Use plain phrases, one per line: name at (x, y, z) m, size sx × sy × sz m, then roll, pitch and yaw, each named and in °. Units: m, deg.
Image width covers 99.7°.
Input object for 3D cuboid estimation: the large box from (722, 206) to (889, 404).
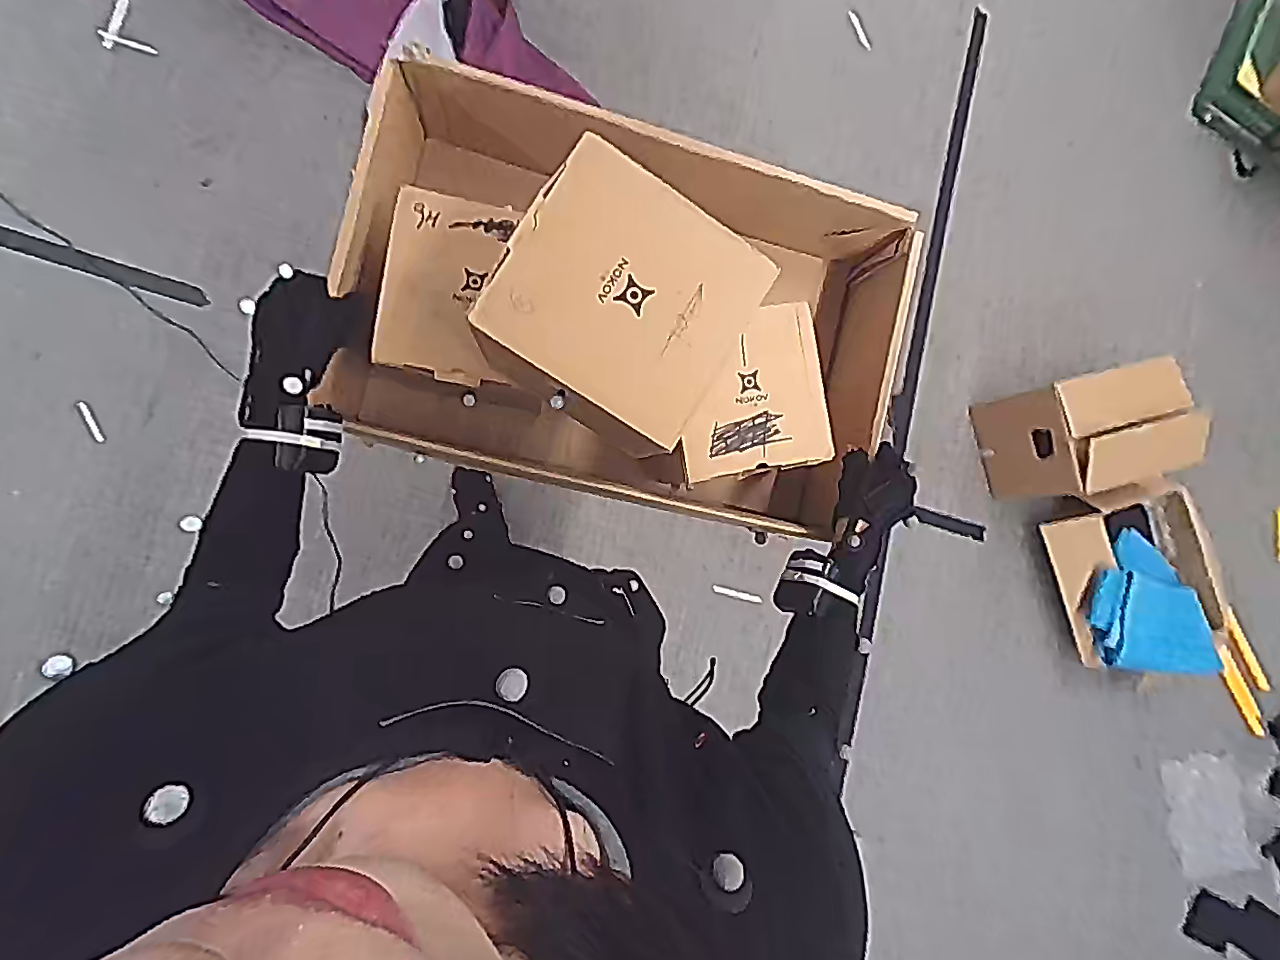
large box at (0.448, -0.467, 1.520) m, size 0.320 × 0.320 × 0.408 m, roll 12°, pitch 84°, yaw -7°
